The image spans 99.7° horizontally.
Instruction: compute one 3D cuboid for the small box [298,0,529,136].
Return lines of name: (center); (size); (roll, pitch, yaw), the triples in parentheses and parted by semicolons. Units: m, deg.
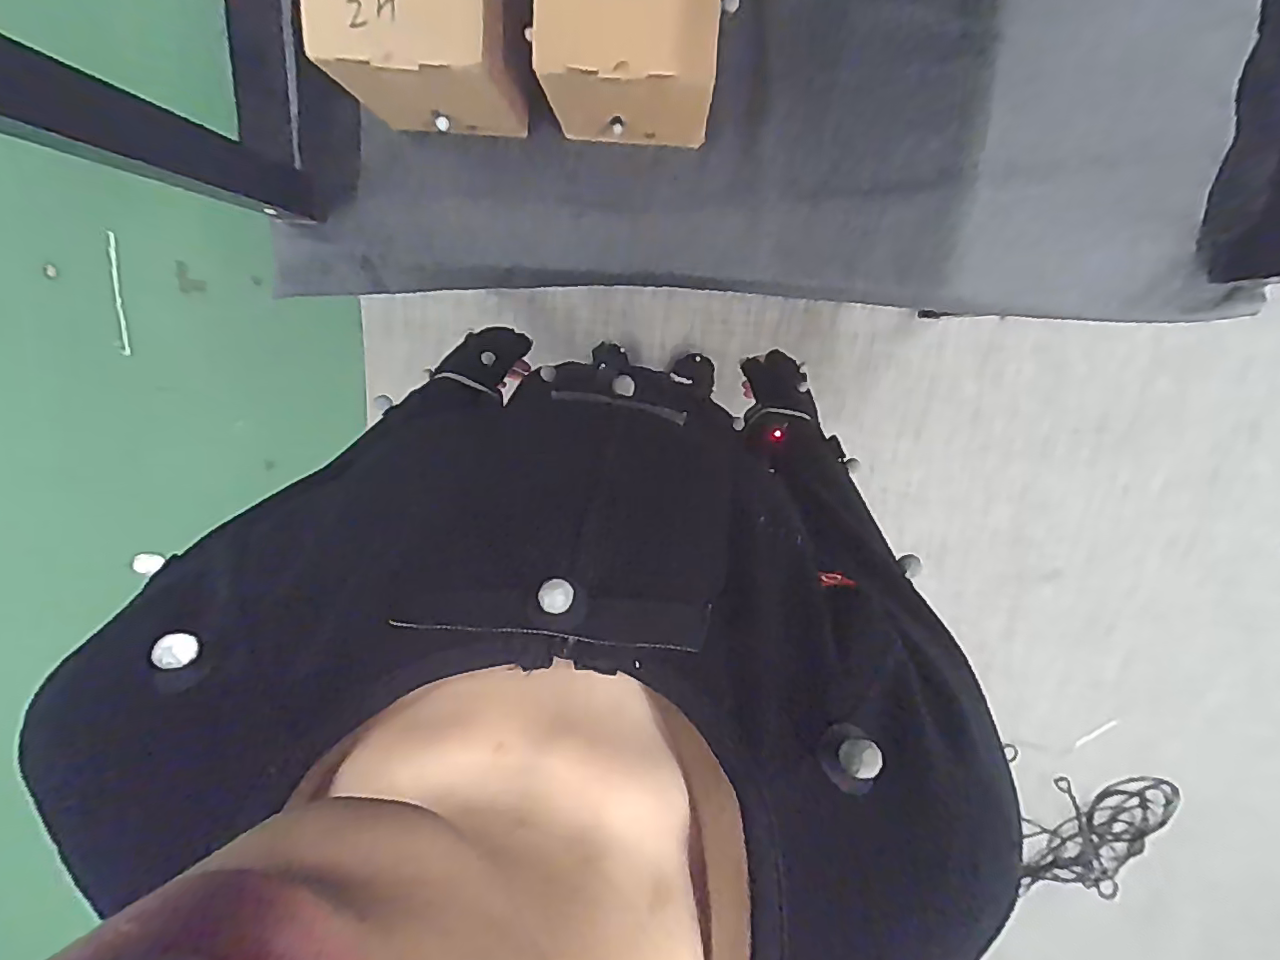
small box: (-0.212, -0.479, 0.542); (0.168, 0.176, 0.179); (5, 104, 1)
